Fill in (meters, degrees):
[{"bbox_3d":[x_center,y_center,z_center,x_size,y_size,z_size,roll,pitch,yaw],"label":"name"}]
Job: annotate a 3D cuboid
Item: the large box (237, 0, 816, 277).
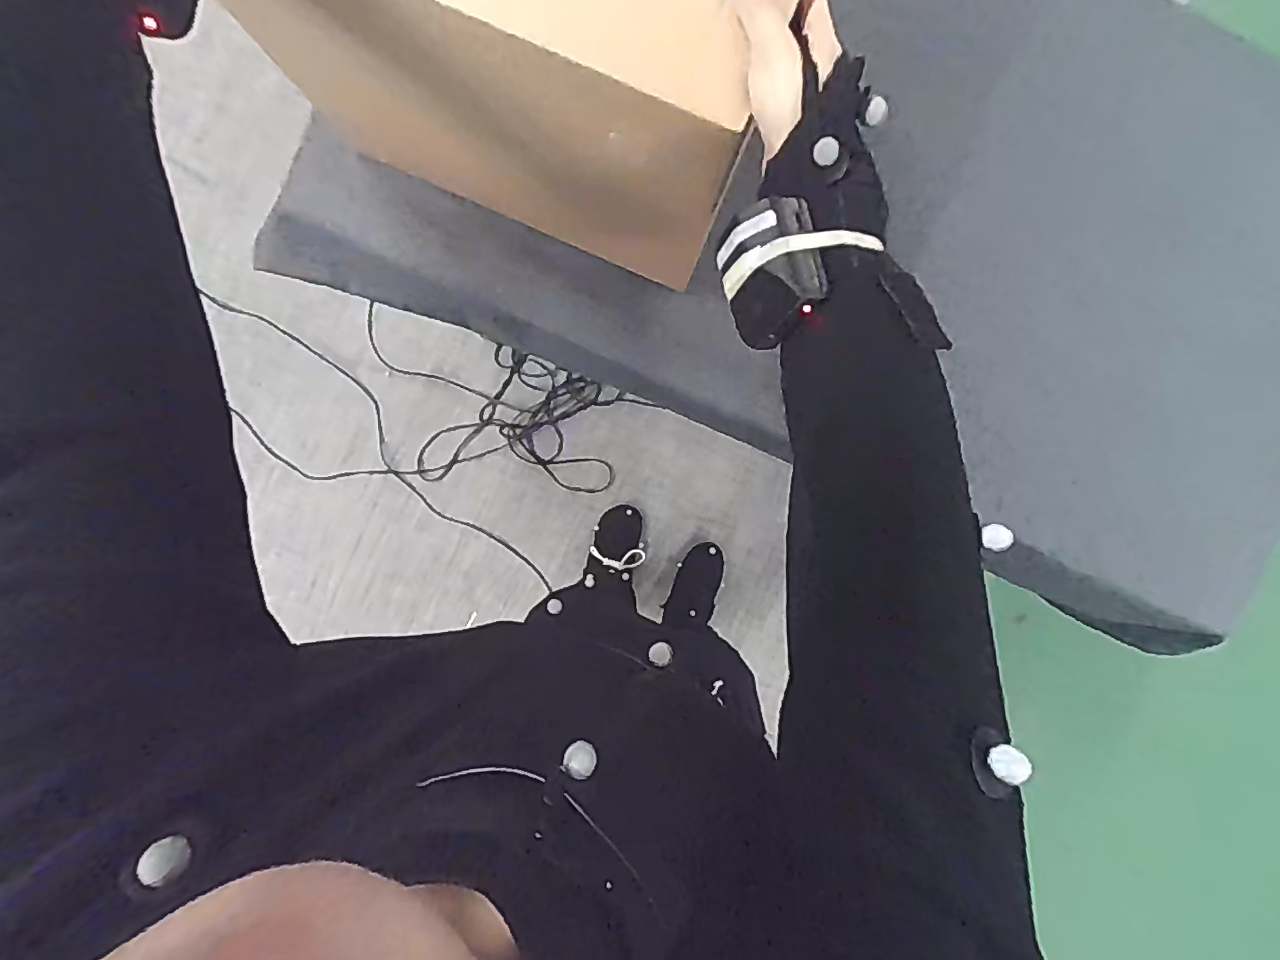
[{"bbox_3d":[-0.066,-0.428,0.448,0.408,0.320,0.320,21,93,-4],"label":"large box"}]
